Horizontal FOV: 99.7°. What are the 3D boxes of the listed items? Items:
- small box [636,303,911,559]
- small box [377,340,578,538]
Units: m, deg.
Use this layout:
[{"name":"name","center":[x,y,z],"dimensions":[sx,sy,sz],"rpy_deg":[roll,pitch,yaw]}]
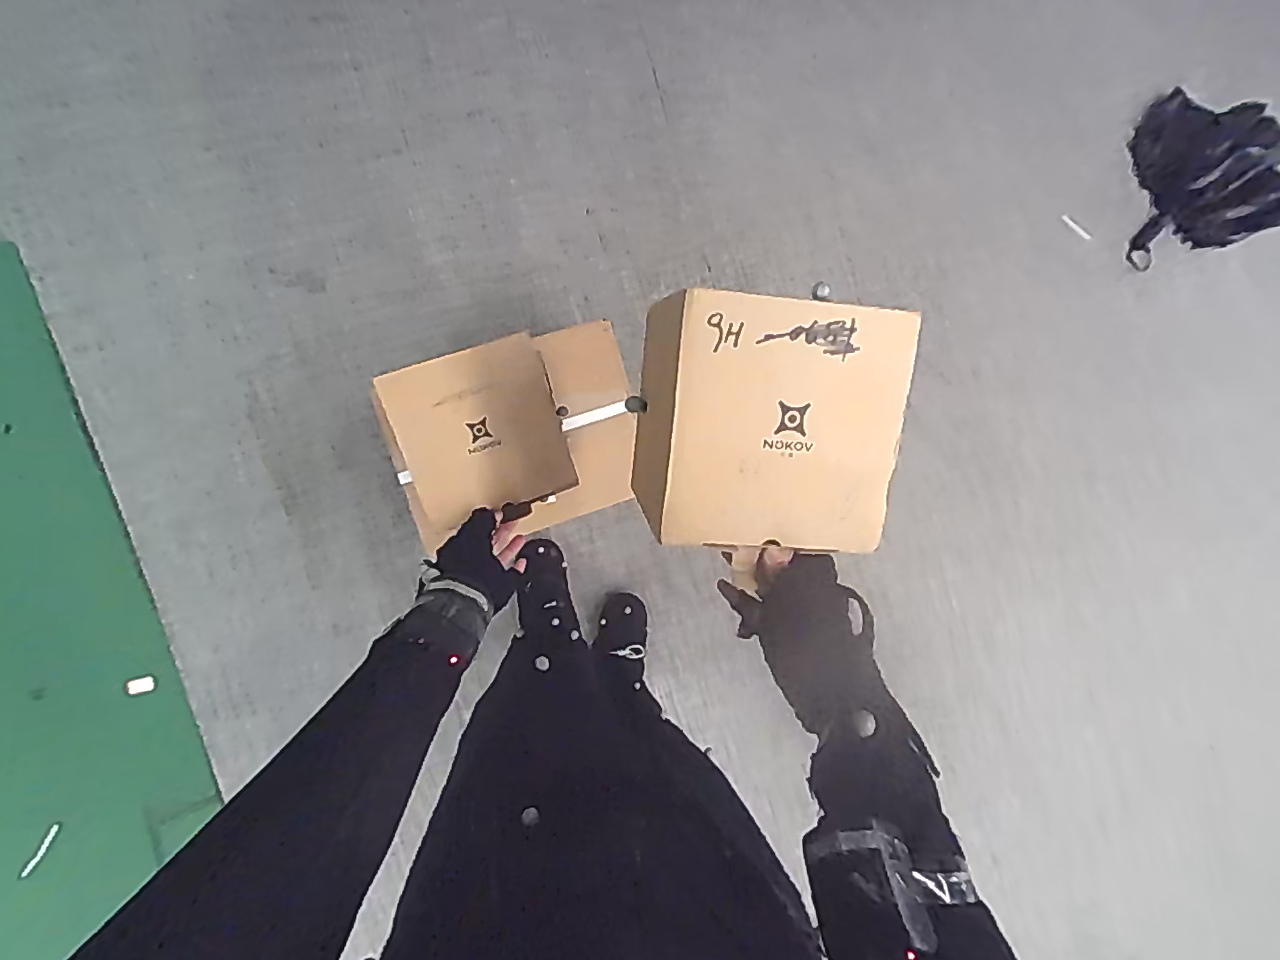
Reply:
[{"name":"small box","center":[0.091,-0.047,0.462],"dimensions":[0.168,0.176,0.179],"rpy_deg":[3,103,-9]},{"name":"small box","center":[-0.183,-0.052,0.655],"dimensions":[0.168,0.176,0.179],"rpy_deg":[-20,99,-9]}]
